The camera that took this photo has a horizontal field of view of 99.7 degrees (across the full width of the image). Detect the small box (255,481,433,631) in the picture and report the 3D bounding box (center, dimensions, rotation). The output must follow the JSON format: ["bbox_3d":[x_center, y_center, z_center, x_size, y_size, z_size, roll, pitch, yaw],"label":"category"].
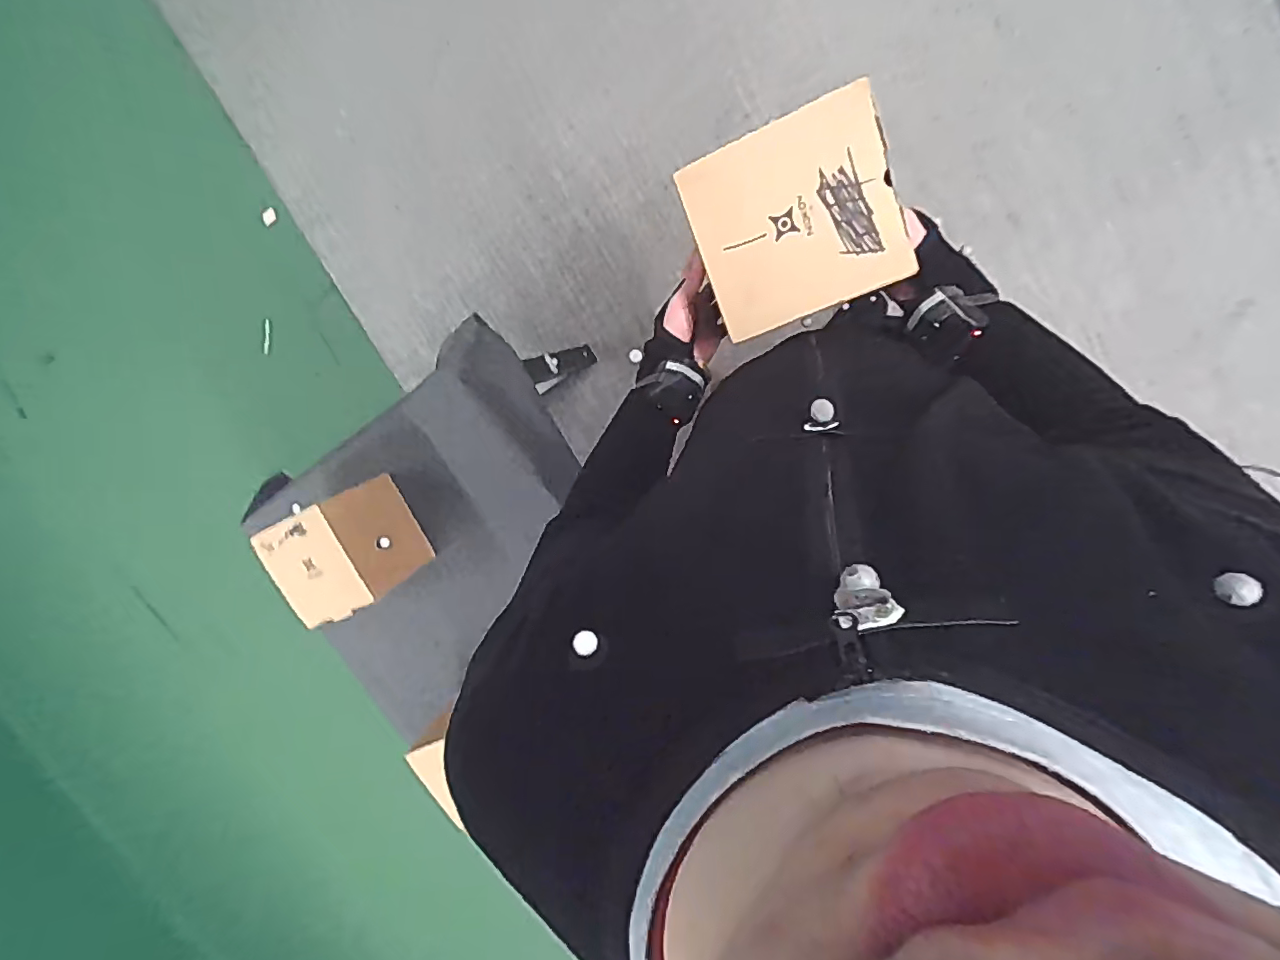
[{"bbox_3d":[-0.498,0.127,0.937,0.168,0.176,0.179,-23,101,19],"label":"small box"}]

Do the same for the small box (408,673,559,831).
[{"bbox_3d":[-0.278,0.498,1.004,0.168,0.176,0.179,-30,97,19],"label":"small box"}]
